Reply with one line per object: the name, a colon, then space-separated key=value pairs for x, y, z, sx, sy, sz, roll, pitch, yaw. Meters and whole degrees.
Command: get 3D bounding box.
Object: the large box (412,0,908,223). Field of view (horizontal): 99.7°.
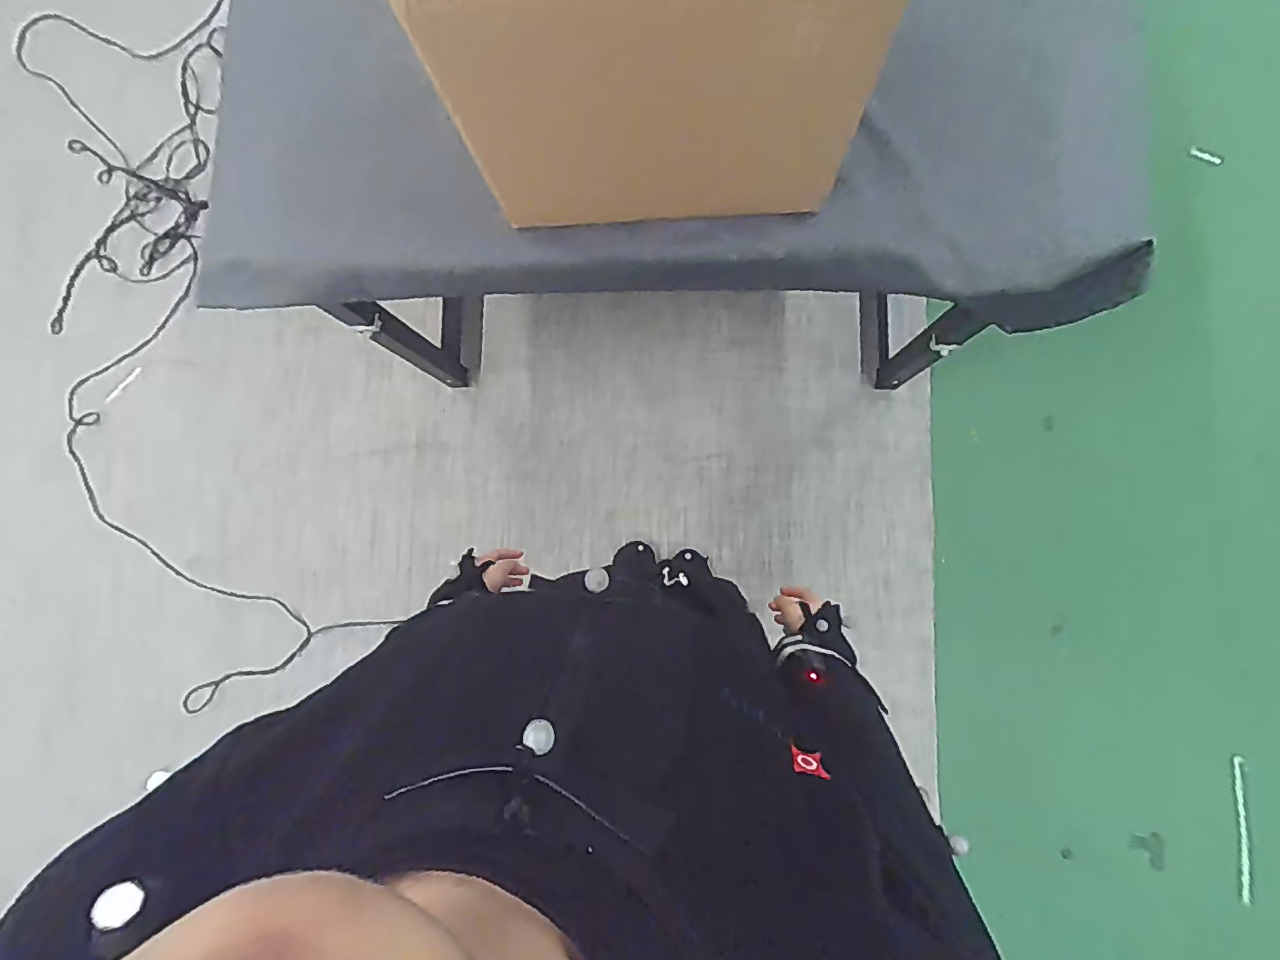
large box: x=0.019 y=-0.508 z=0.568 sx=0.408 sy=0.320 sz=0.320 roll=-2 pitch=84 yaw=3
